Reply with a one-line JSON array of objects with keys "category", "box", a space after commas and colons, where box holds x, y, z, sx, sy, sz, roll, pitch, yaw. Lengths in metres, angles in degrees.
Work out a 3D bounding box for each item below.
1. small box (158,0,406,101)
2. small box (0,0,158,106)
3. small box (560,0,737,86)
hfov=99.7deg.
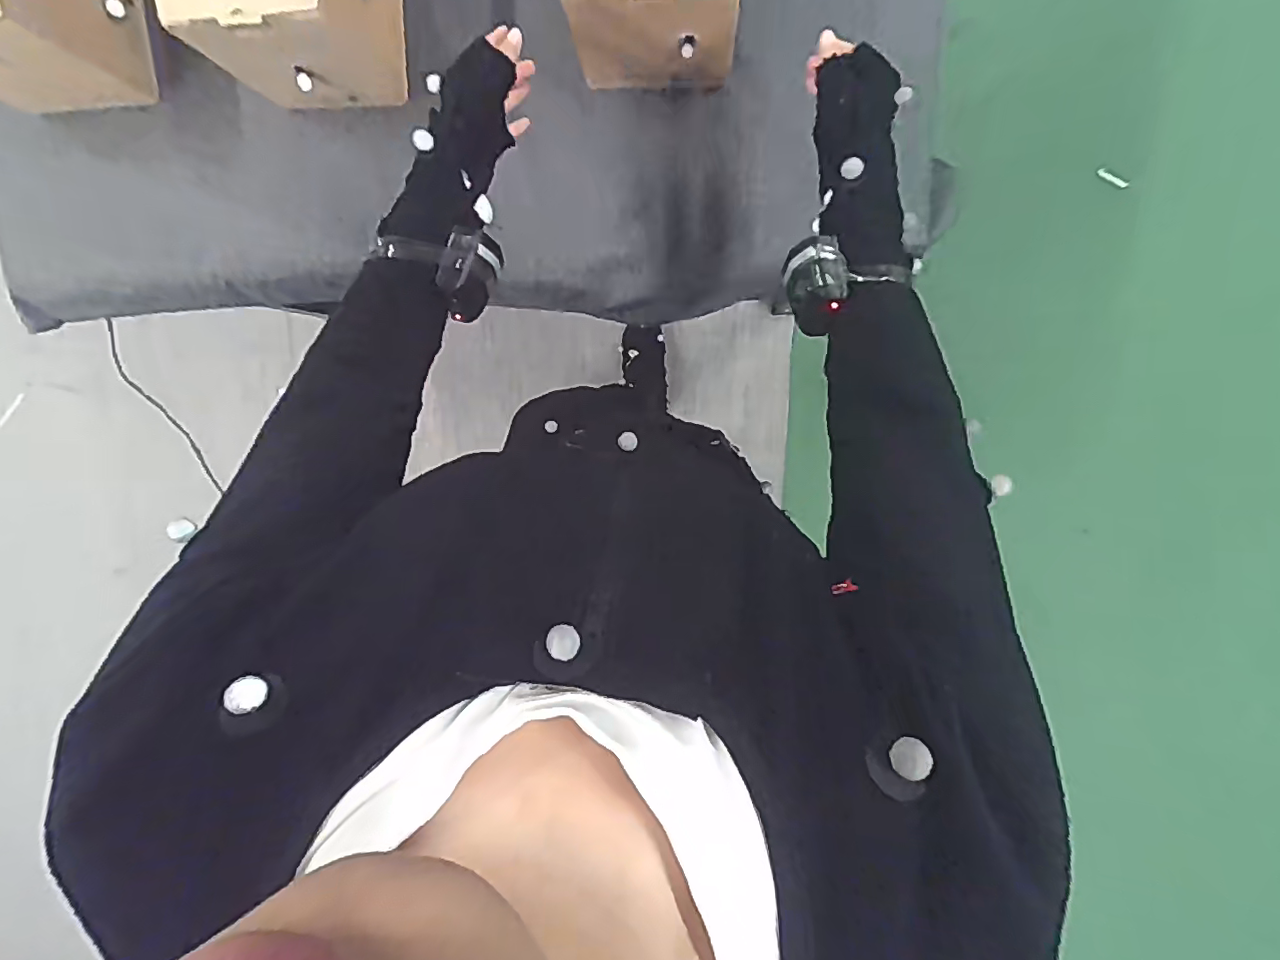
[{"category": "small box", "box": [-0.366, -0.530, 0.571, 0.168, 0.176, 0.179, 1, 101, 5]}, {"category": "small box", "box": [-0.697, -0.542, 0.595, 0.179, 0.176, 0.168, -2, 100, 4]}, {"category": "small box", "box": [0.016, -0.528, 0.541, 0.168, 0.176, 0.179, 2, 99, 4]}]
